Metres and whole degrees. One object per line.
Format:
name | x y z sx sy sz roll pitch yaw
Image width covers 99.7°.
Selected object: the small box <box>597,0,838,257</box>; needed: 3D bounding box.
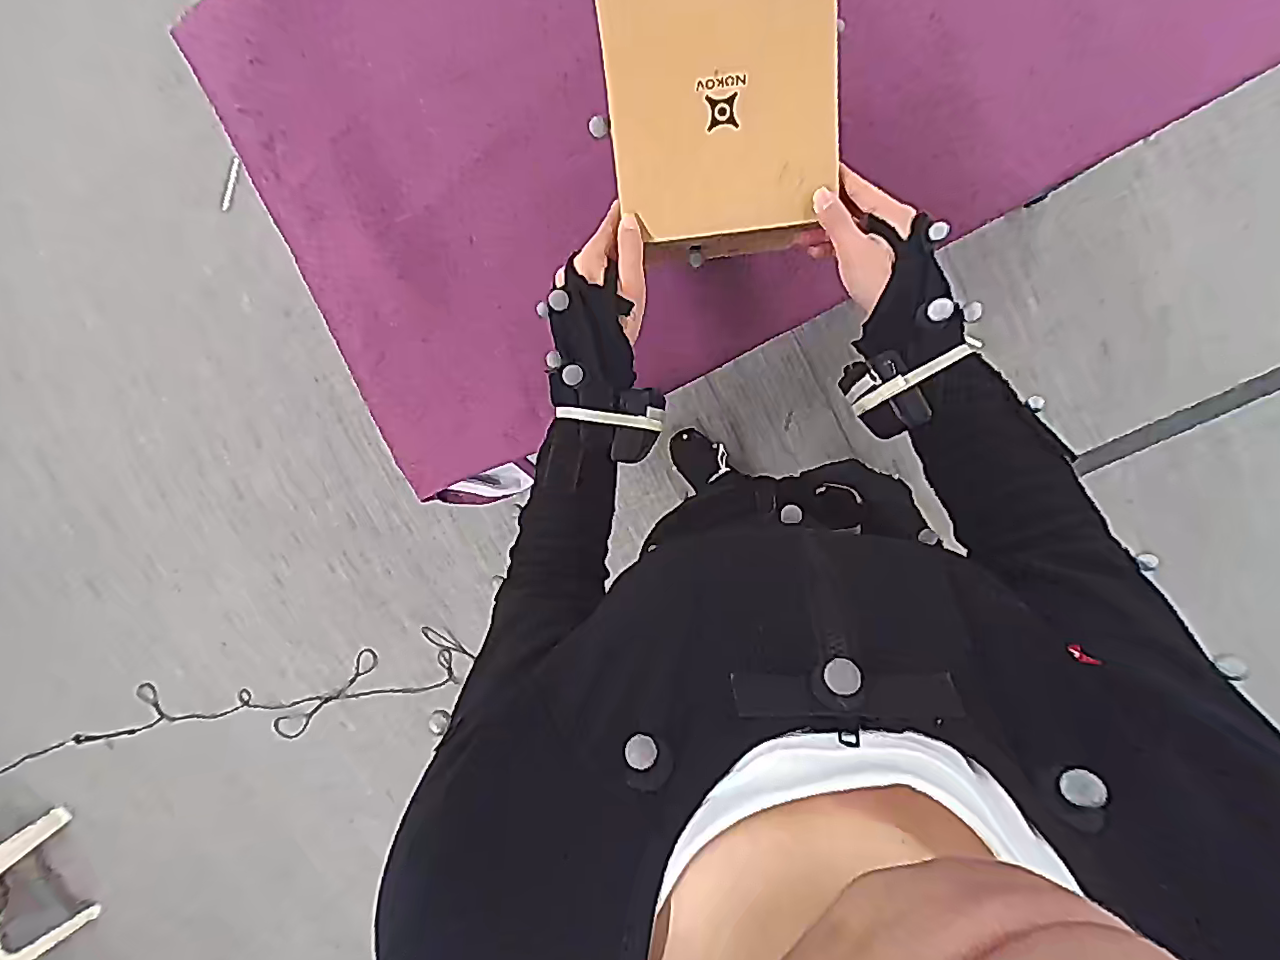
small box | 0.062 -0.296 0.463 0.168 0.176 0.179 -5 104 4
